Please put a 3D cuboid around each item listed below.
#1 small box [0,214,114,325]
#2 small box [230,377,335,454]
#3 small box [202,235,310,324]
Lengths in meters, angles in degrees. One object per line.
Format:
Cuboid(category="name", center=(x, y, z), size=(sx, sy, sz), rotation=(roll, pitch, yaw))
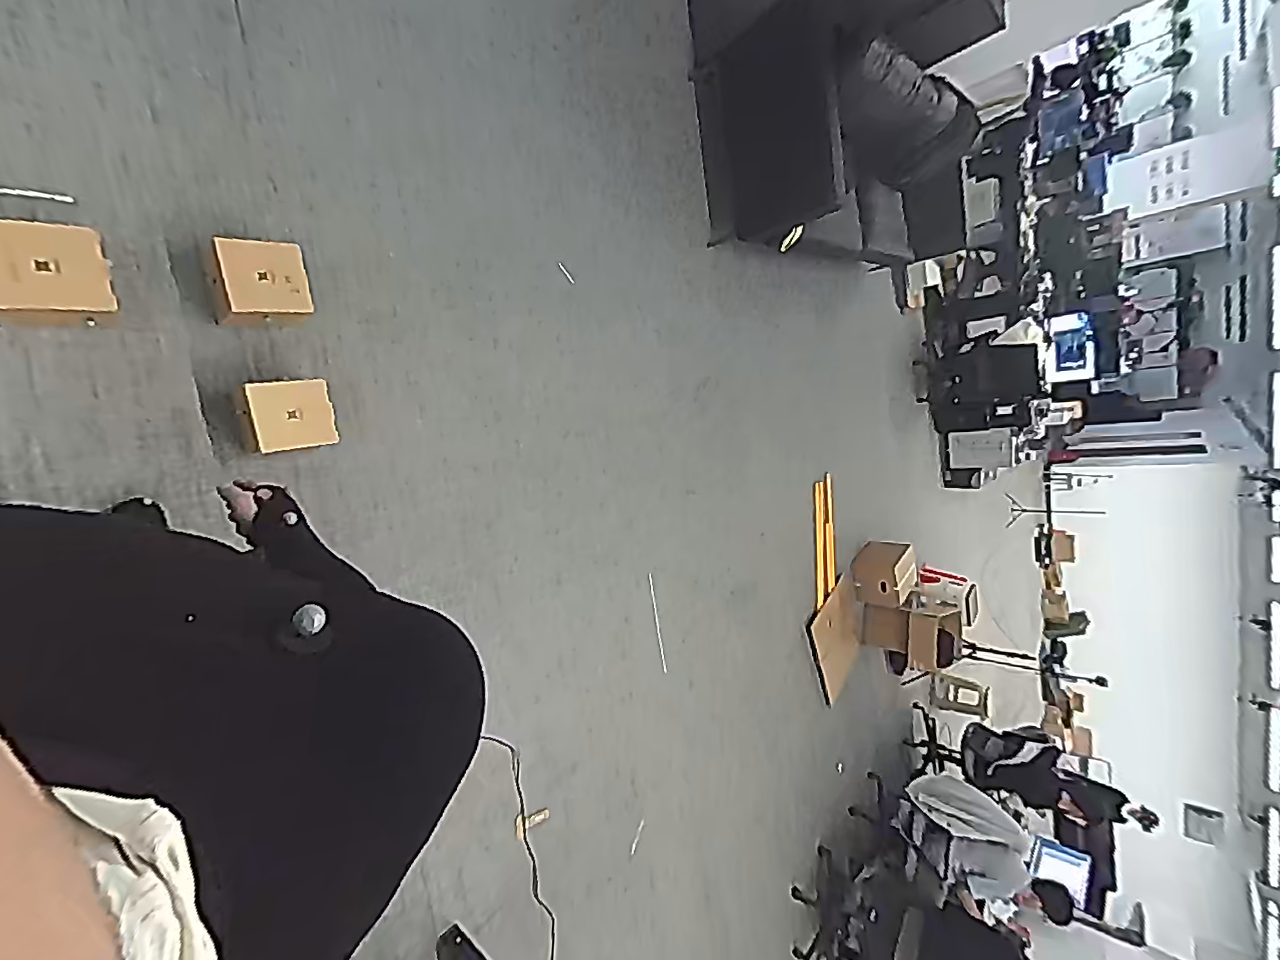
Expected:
Cuboid(category="small box", center=(-1.189, -0.409, 1.074), size=(0.179, 0.176, 0.168), rotation=(-15, 99, -45))
Cuboid(category="small box", center=(-0.908, -0.162, 1.366), size=(0.179, 0.176, 0.168), rotation=(-17, 101, -46))
Cuboid(category="small box", center=(-0.947, -0.482, 1.327), size=(0.179, 0.176, 0.168), rotation=(-17, 102, -46))
